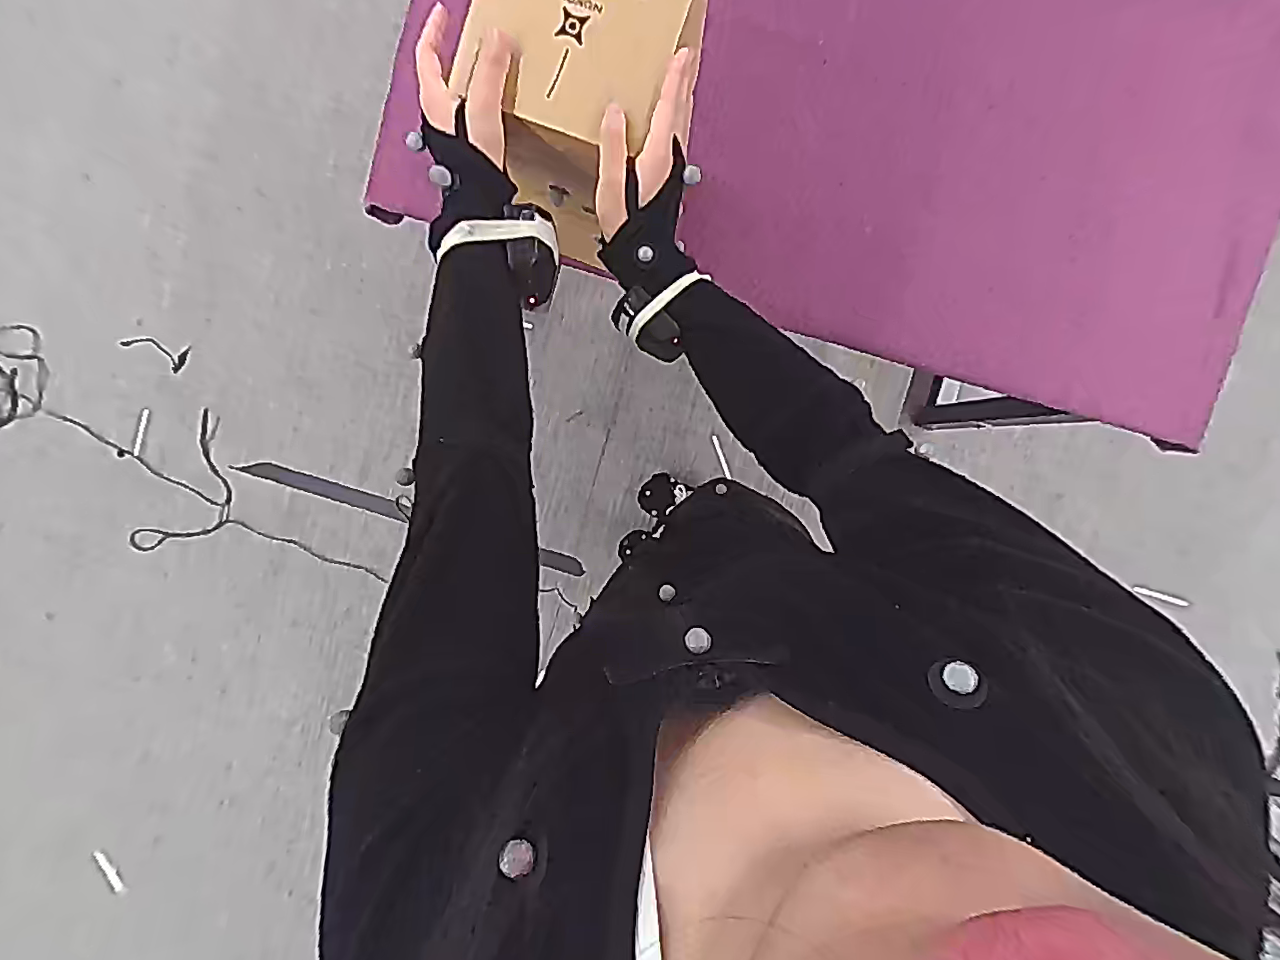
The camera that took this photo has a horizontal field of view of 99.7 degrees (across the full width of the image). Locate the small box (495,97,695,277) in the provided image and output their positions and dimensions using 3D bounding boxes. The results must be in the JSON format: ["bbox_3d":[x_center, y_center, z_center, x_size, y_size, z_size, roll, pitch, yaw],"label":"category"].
[{"bbox_3d":[-0.048,-0.370,0.661,0.179,0.176,0.168,21,94,0],"label":"small box"}]

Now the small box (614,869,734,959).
[{"bbox_3d":[0.052,0.795,0.880,0.168,0.176,0.179,18,96,-1],"label":"small box"}]

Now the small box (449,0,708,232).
[{"bbox_3d":[-0.045,-0.365,0.497,0.168,0.176,0.179,20,95,0],"label":"small box"}]
